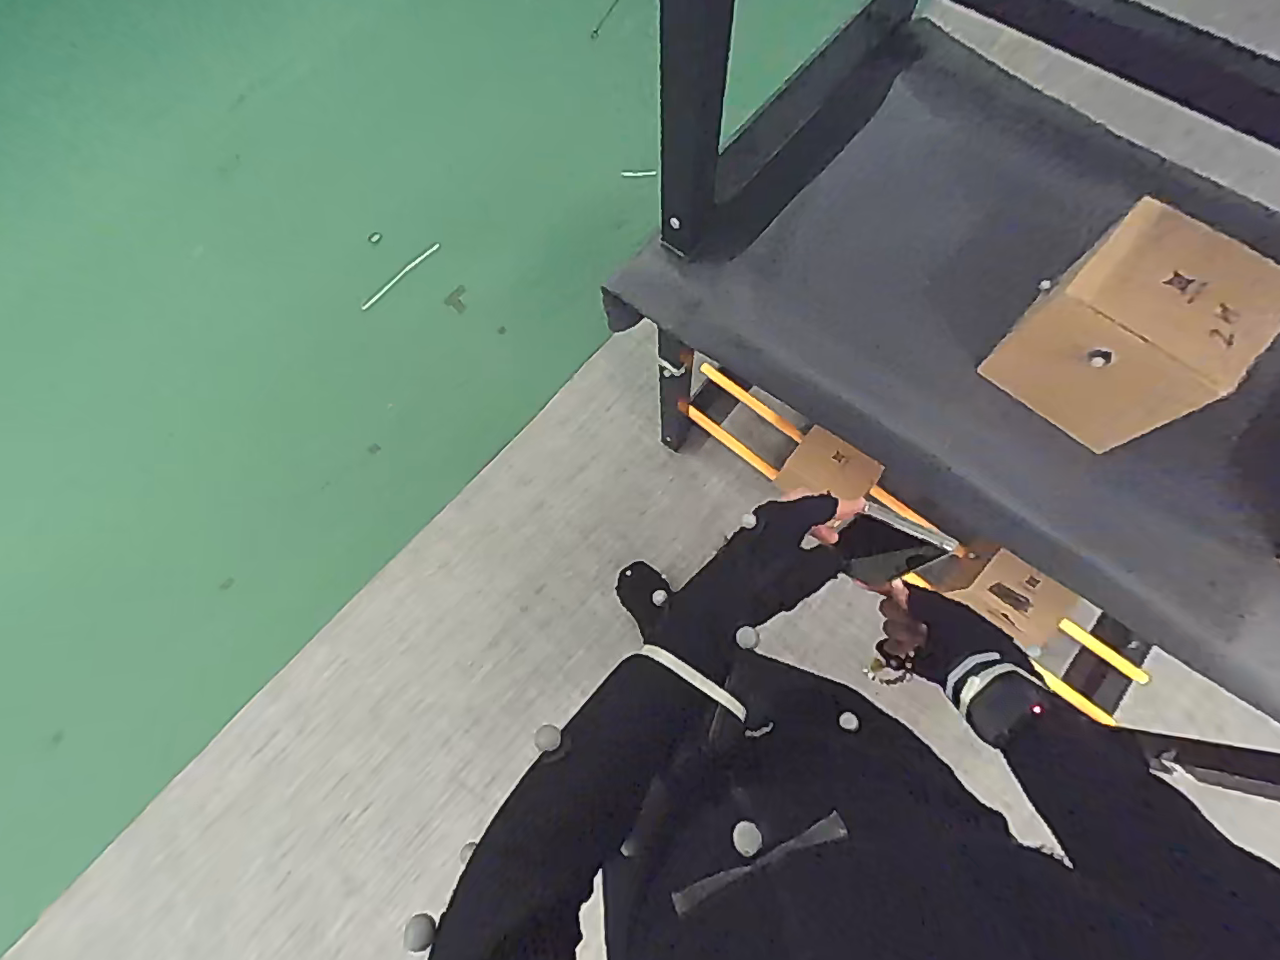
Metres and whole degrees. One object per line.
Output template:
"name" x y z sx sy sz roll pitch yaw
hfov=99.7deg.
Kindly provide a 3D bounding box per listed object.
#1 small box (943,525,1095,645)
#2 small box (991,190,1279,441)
"small box" 0.771 0.224 1.127 0.168 0.176 0.179 42 79 14
"small box" 0.552 -0.172 0.610 0.179 0.176 0.168 42 79 14
